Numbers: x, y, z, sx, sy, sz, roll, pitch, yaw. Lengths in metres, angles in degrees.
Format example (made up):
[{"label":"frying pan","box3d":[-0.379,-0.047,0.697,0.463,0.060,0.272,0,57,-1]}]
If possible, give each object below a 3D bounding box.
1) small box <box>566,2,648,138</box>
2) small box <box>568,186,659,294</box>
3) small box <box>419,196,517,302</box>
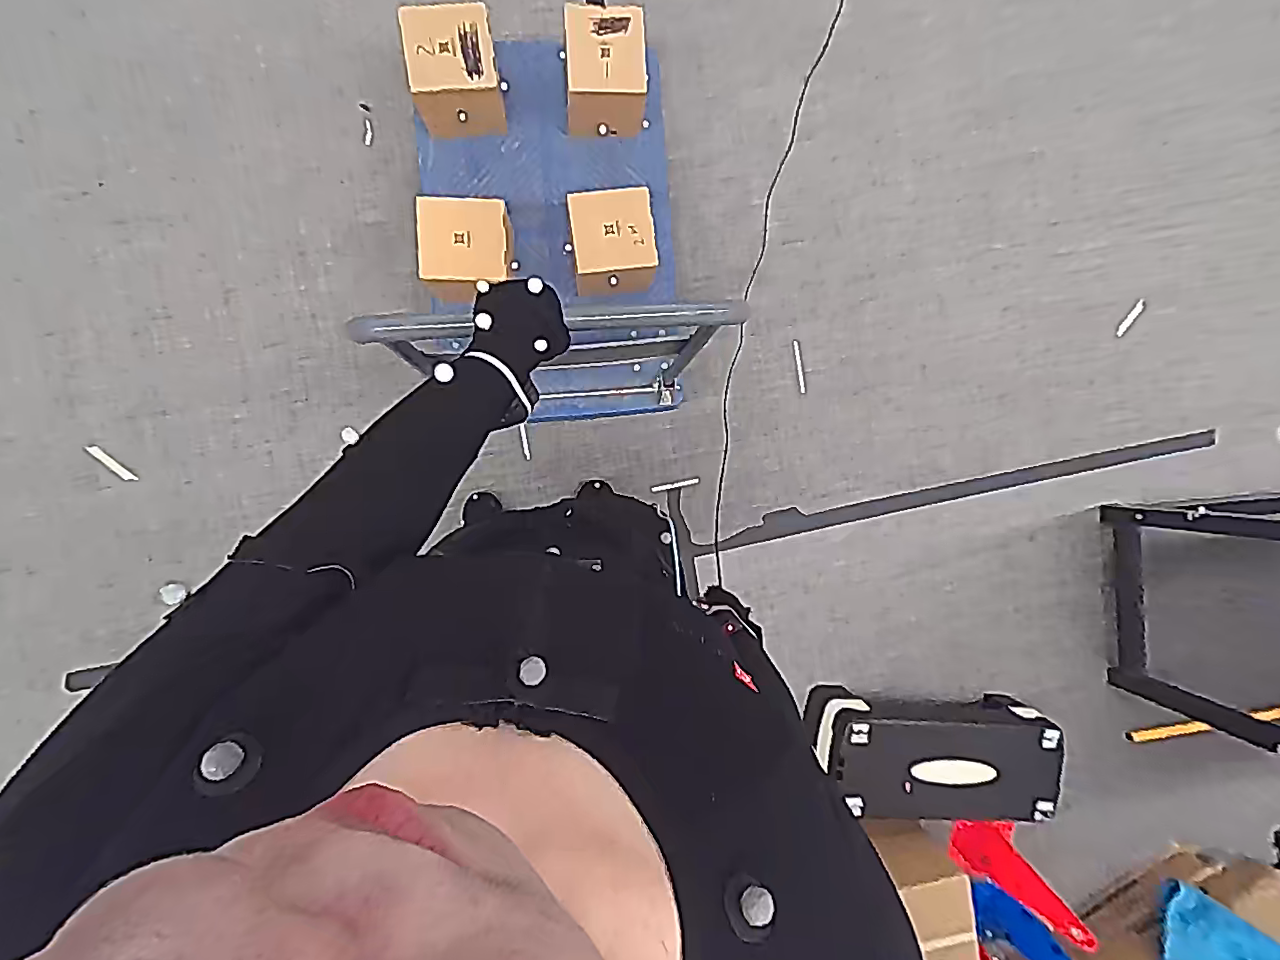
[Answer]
[{"label":"small box","box3d":[-0.077,-0.895,1.192,0.168,0.176,0.179,-4,94,-6]},{"label":"small box","box3d":[-0.061,-0.528,1.210,0.179,0.176,0.168,-8,94,-6]},{"label":"small box","box3d":[-0.367,-0.494,1.178,0.179,0.176,0.168,-2,92,-8]}]
